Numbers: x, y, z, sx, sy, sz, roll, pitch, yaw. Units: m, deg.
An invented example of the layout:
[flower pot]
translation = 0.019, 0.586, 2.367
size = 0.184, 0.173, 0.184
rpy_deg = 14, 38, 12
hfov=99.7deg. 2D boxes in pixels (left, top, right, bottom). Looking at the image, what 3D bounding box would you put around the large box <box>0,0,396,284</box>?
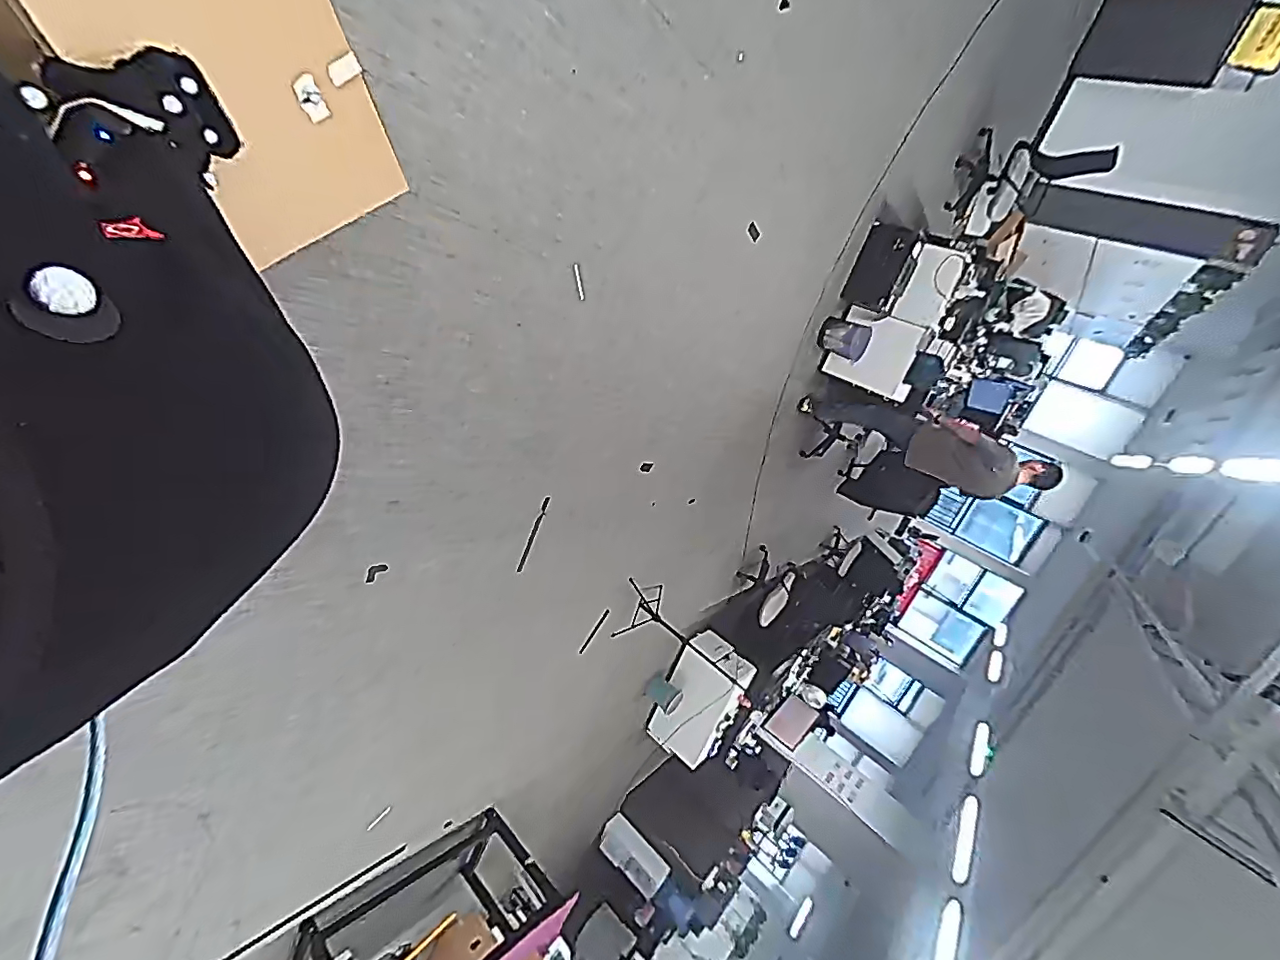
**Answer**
[large box]
translation = -0.614, -0.477, 0.688
size = 0.320, 0.408, 0.320
rpy_deg = -56, 149, -36
